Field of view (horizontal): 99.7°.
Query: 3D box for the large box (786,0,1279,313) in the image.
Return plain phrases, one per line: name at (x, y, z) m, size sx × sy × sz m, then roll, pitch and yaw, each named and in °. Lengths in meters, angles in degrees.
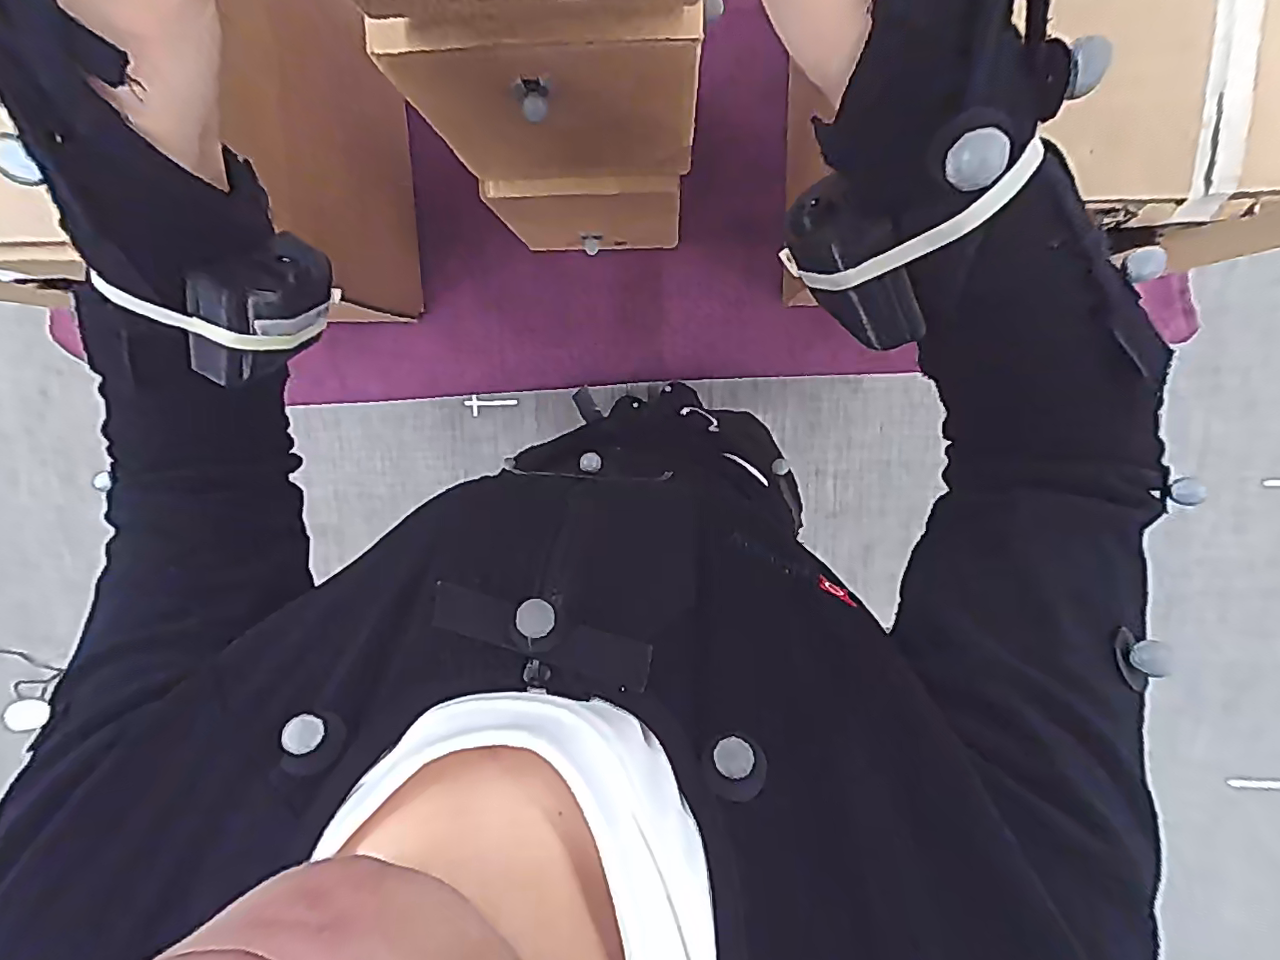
large box at (0.293, -0.364, 0.411) m, size 0.320 × 0.320 × 0.408 m, roll -1°, pitch 98°, yaw 3°
